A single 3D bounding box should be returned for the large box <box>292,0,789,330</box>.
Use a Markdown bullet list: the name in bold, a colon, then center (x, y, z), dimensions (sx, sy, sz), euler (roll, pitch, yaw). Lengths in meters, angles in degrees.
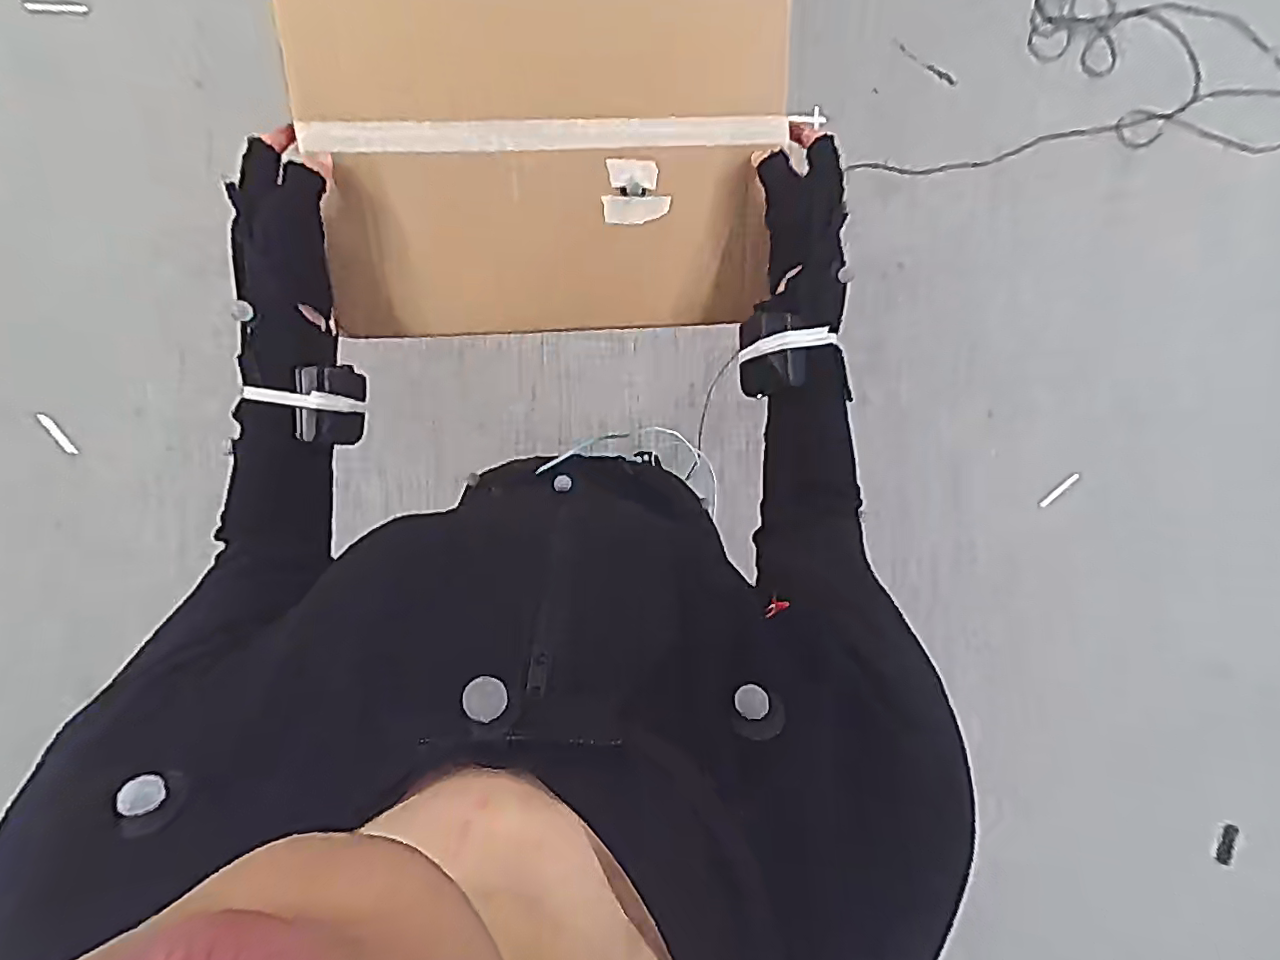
- **large box**: center (-0.086, -0.340, 0.602), dimensions (0.408, 0.320, 0.320), euler (-4, 108, -6)
